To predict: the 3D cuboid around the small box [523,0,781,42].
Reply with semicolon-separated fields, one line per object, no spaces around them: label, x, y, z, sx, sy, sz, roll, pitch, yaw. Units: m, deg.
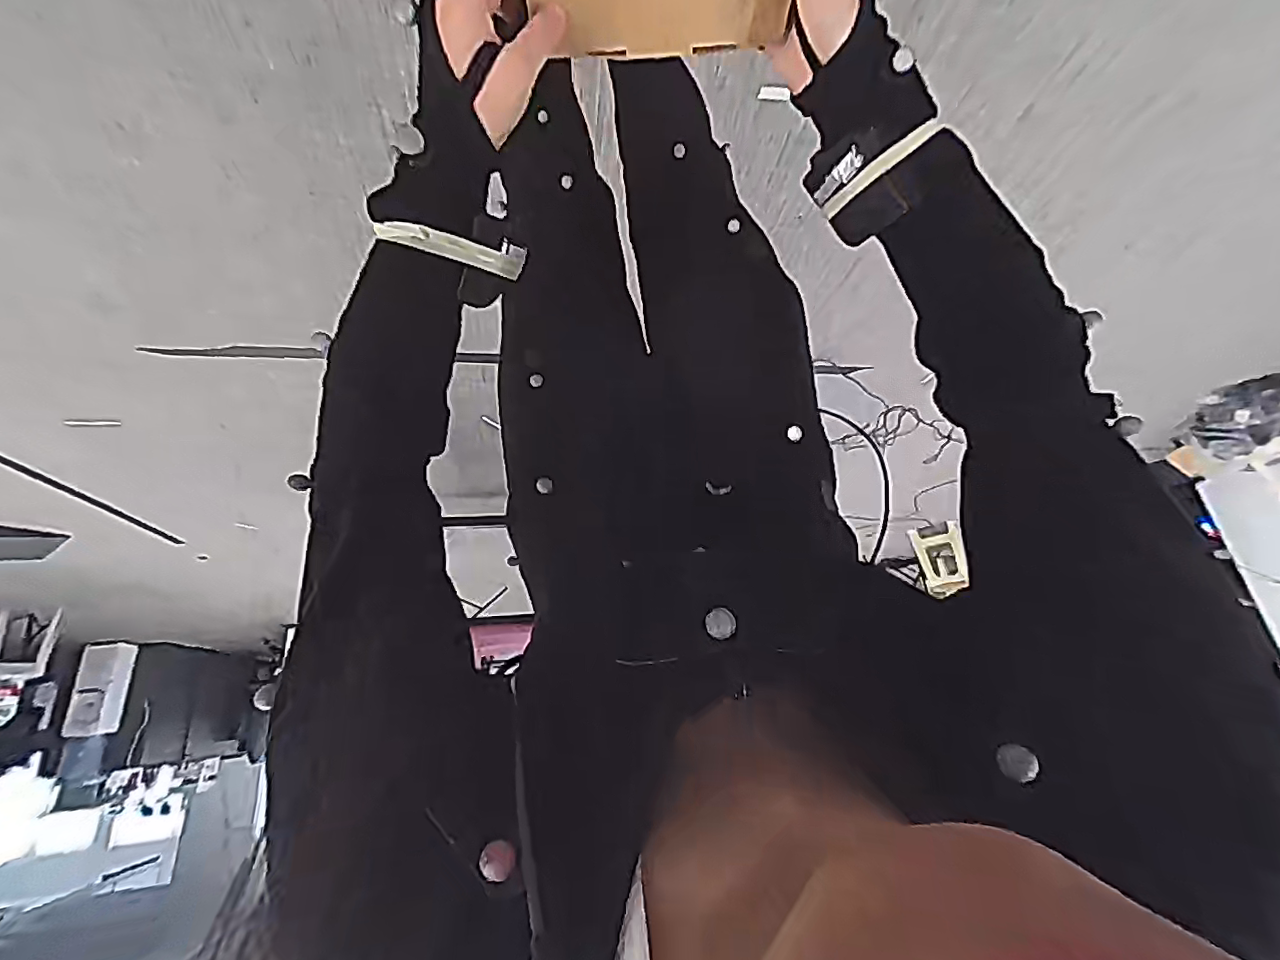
small box;0.002;-0.401;0.312;0.168;0.176;0.179;-6;153;-2
